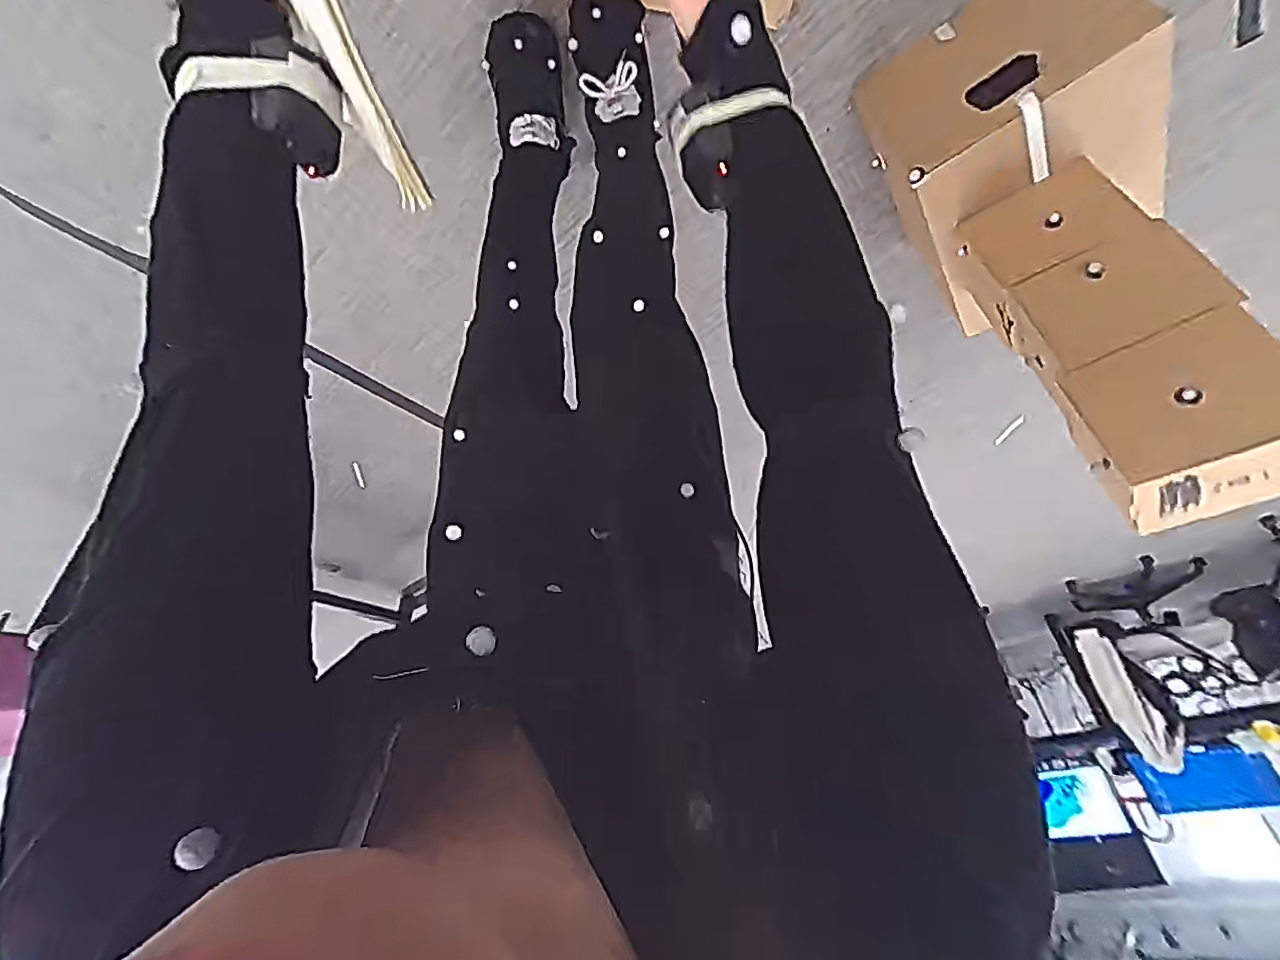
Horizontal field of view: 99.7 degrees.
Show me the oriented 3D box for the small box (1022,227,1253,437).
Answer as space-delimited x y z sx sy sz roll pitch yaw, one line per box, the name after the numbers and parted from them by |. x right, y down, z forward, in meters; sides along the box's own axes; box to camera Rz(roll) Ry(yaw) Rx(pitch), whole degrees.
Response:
0.647 -0.193 0.730 0.179 0.176 0.168 -25 141 29 | small box

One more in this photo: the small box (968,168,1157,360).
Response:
0.629 -0.325 0.827 0.179 0.176 0.168 -24 141 26 | small box
